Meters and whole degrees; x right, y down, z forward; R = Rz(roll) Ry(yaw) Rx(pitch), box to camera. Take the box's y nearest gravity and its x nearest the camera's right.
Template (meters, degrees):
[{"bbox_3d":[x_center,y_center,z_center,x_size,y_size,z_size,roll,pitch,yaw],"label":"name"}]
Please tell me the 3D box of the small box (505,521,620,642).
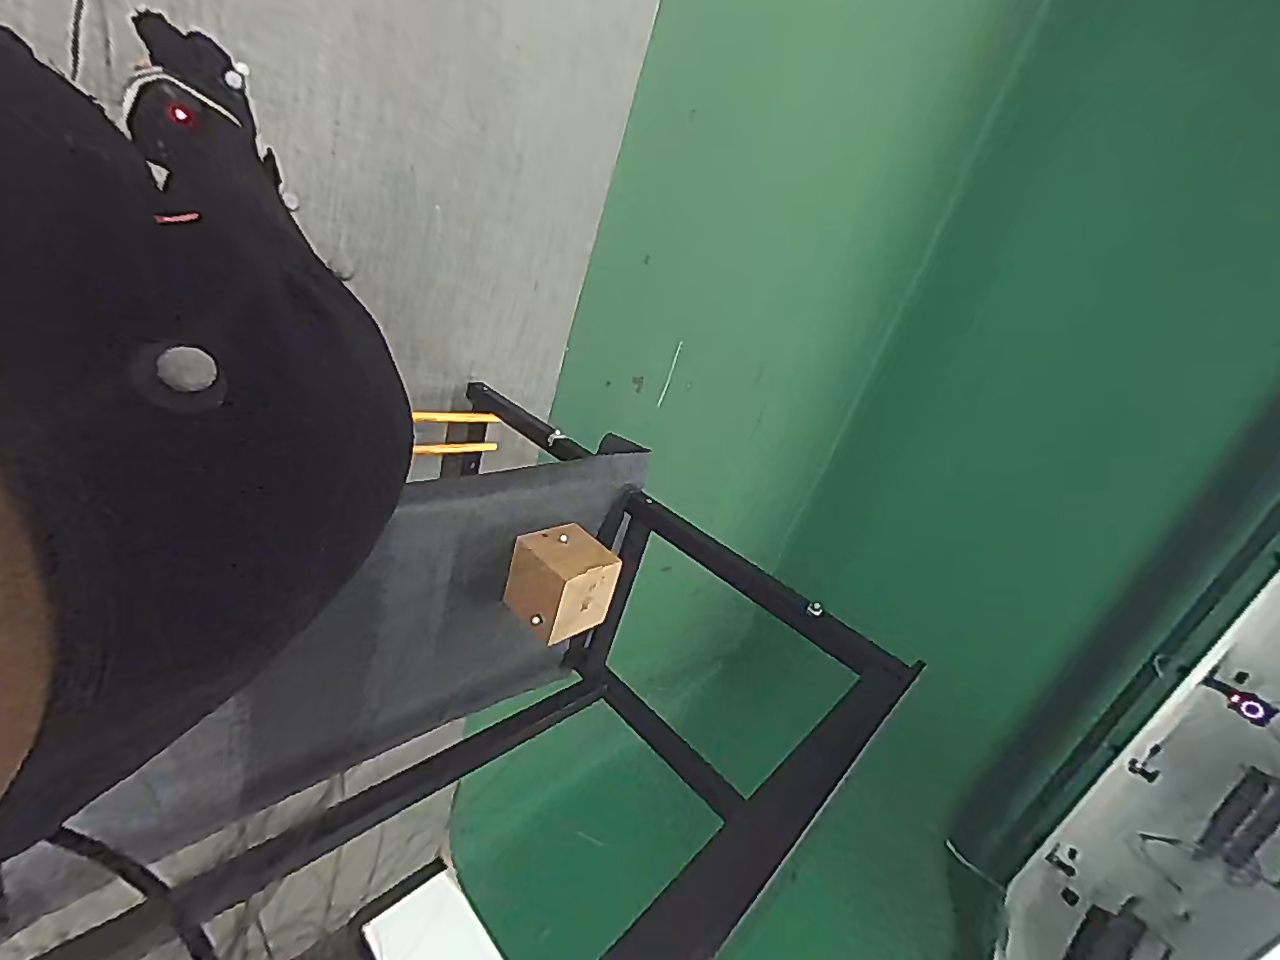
[{"bbox_3d":[-0.175,0.215,1.186,0.168,0.176,0.179,-11,126,-49],"label":"small box"}]
